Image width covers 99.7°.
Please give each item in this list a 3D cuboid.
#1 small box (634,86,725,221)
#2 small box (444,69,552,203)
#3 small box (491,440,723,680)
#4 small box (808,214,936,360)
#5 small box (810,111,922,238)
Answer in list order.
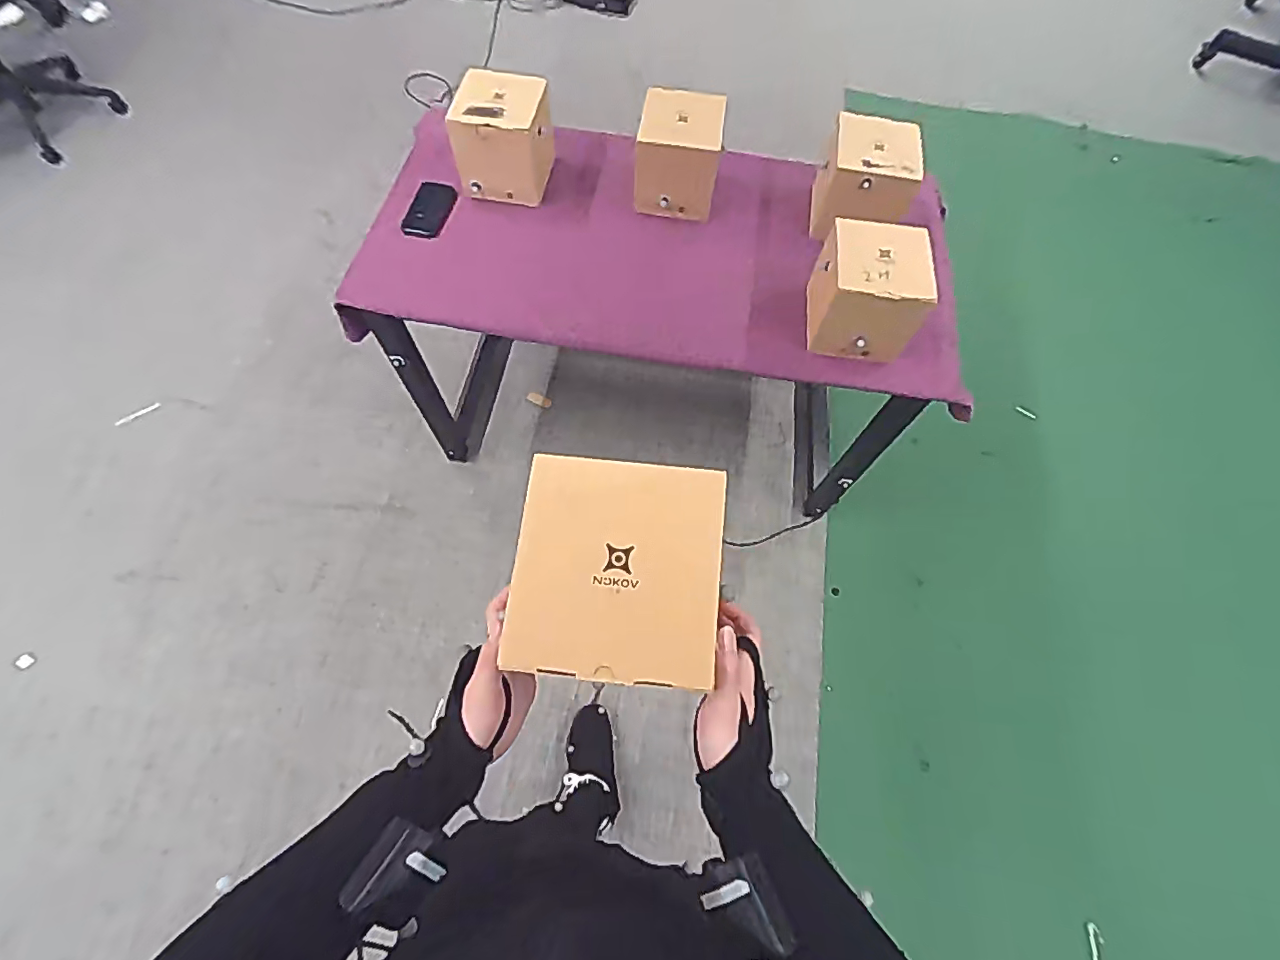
[{"bbox_3d":[0.079,-0.684,1.139,0.168,0.176,0.179,8,65,2],"label":"small box"},{"bbox_3d":[-0.286,-0.715,1.135,0.168,0.176,0.179,9,64,1],"label":"small box"},{"bbox_3d":[-0.021,0.080,0.499,0.168,0.176,0.179,5,74,3],"label":"small box"},{"bbox_3d":[0.413,-0.349,0.991,0.168,0.176,0.179,8,65,3],"label":"small box"},{"bbox_3d":[0.462,-0.623,1.127,0.168,0.176,0.179,10,64,3],"label":"small box"}]
